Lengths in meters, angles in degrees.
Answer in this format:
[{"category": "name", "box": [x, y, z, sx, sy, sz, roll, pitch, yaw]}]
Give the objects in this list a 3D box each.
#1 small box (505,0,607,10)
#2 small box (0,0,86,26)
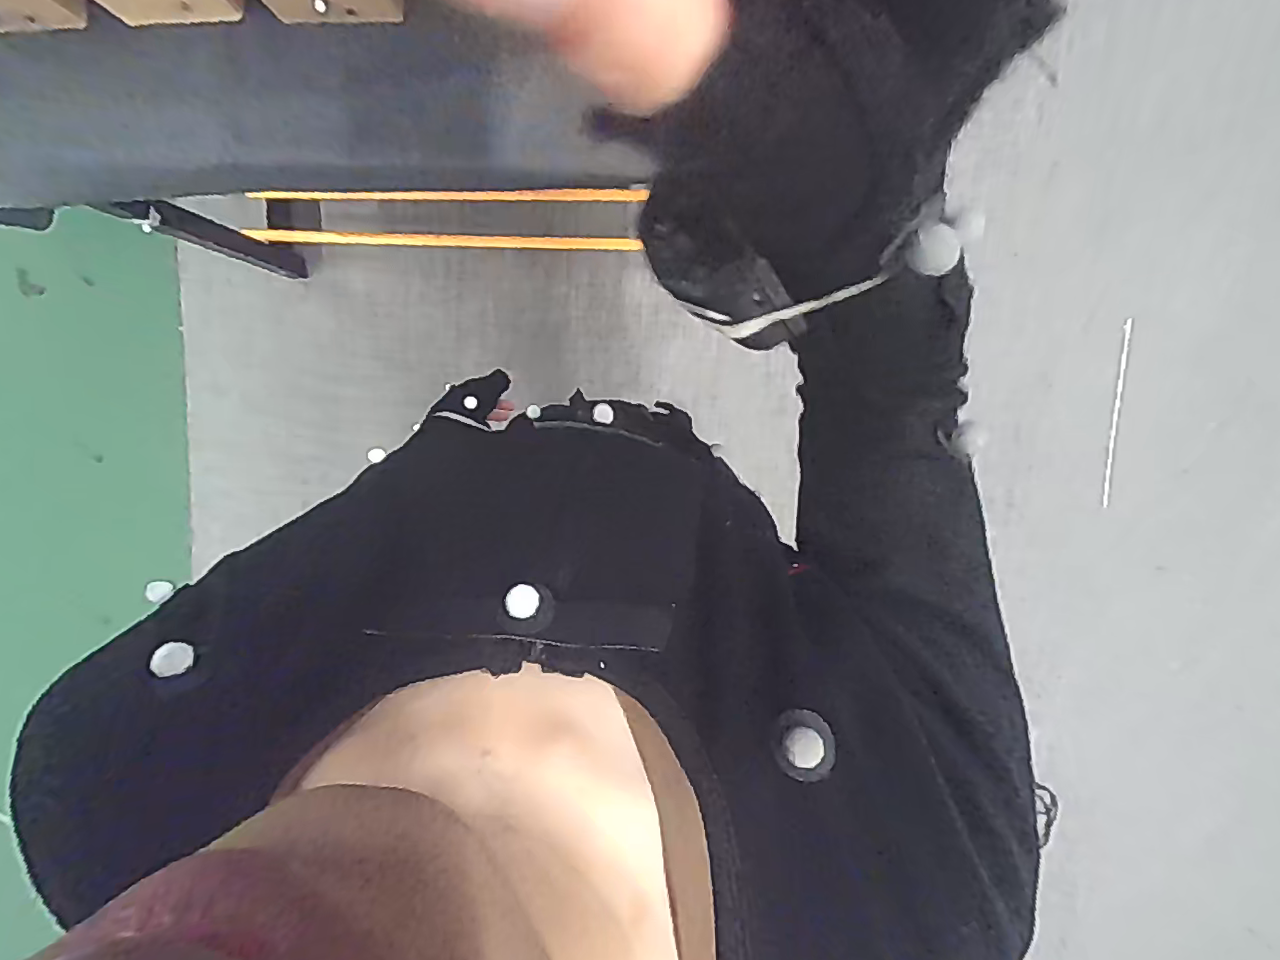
[{"category": "small box", "box": [-0.117, -0.667, 0.592, 0.168, 0.176, 0.179, 5, 97, 3]}, {"category": "small box", "box": [-0.825, -0.690, 0.640, 0.168, 0.176, 0.179, 0, 97, 4]}]
